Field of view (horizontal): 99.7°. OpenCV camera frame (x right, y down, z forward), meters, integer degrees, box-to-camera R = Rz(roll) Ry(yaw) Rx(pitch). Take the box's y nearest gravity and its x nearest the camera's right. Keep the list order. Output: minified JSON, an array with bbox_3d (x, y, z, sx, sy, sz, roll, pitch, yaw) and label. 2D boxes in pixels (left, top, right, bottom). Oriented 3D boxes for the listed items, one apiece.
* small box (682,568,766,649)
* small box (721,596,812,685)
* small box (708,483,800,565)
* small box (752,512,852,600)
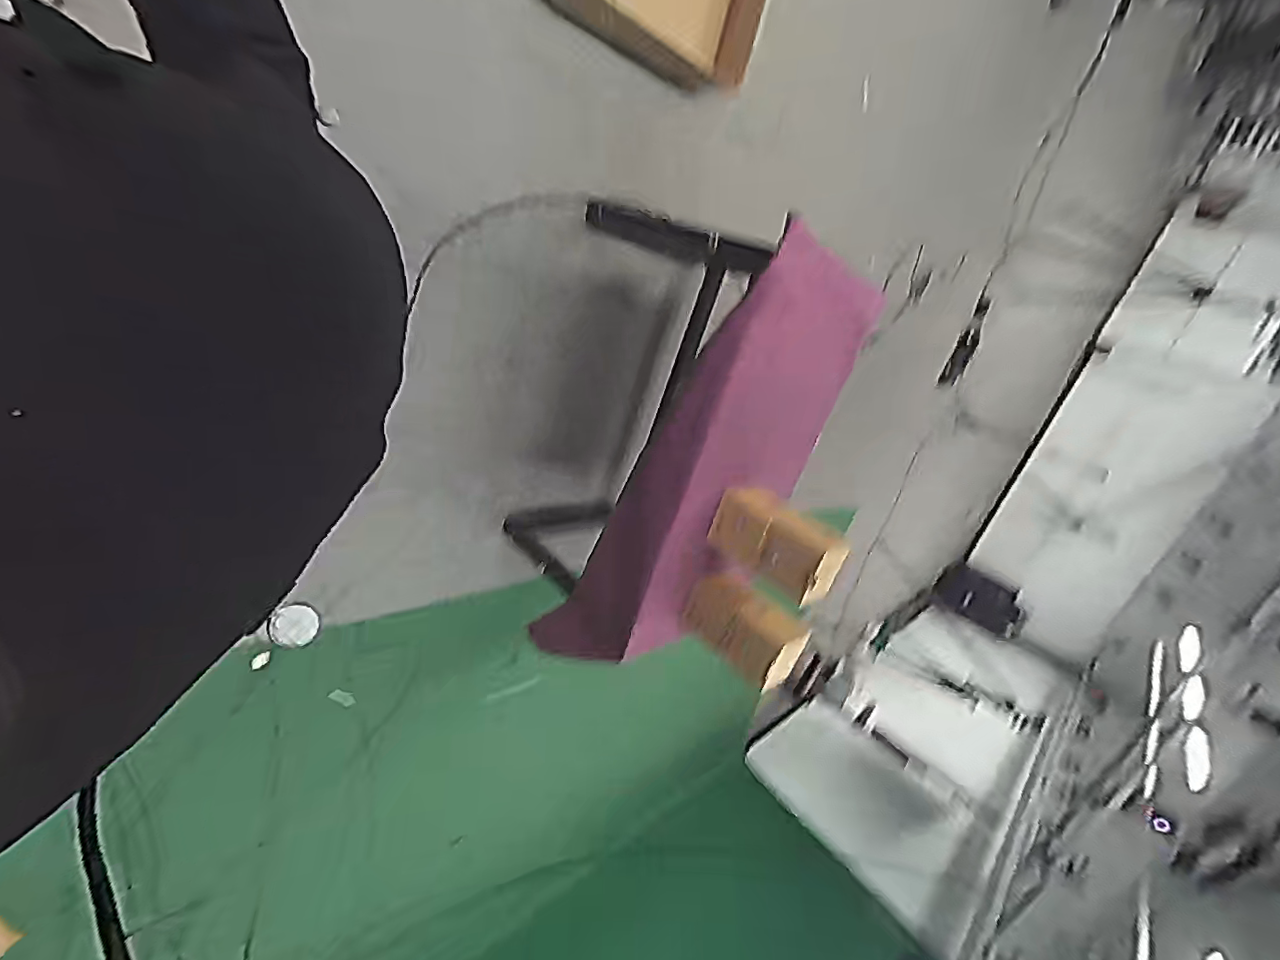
[{"bbox_3d":[0.263,0.402,1.715,0.179,0.176,0.168,-4,120,-47],"label":"small box"},{"bbox_3d":[0.372,0.472,1.615,0.179,0.176,0.168,-3,121,-46],"label":"small box"},{"bbox_3d":[0.327,0.121,1.574,0.179,0.176,0.168,-8,123,-46],"label":"small box"},{"bbox_3d":[0.440,0.198,1.481,0.179,0.176,0.168,-4,120,-47],"label":"small box"}]
